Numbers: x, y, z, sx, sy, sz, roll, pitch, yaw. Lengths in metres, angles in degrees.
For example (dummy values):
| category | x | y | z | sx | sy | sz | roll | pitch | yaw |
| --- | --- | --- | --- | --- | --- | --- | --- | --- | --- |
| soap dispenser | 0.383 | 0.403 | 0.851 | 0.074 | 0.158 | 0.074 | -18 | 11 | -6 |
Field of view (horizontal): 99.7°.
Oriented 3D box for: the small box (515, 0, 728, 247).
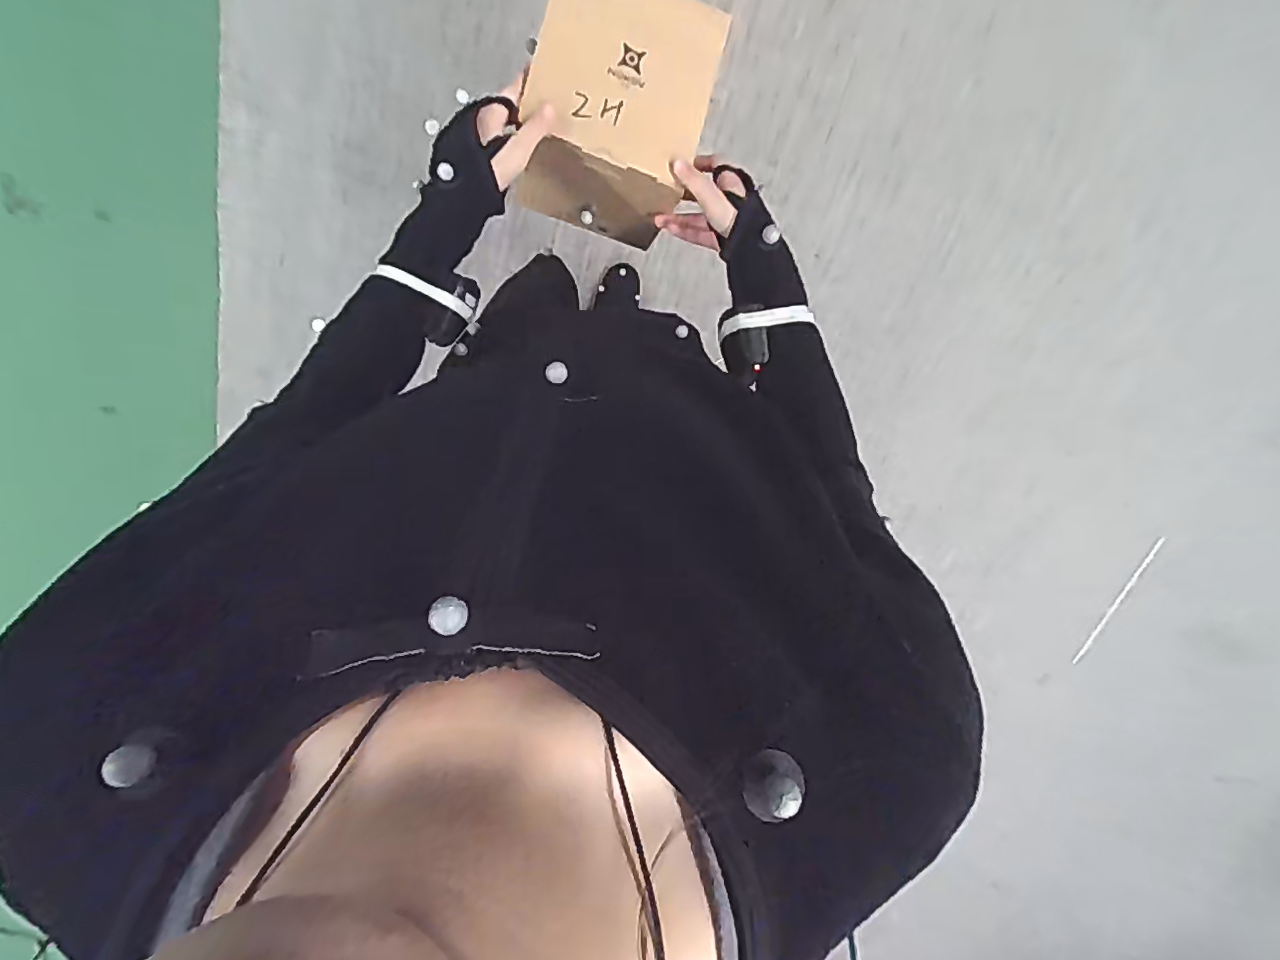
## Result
| category | x | y | z | sx | sy | sz | roll | pitch | yaw |
| --- | --- | --- | --- | --- | --- | --- | --- | --- | --- |
| small box | -0.031 | -0.385 | 0.577 | 0.168 | 0.176 | 0.179 | 17 | 90 | -13 |
